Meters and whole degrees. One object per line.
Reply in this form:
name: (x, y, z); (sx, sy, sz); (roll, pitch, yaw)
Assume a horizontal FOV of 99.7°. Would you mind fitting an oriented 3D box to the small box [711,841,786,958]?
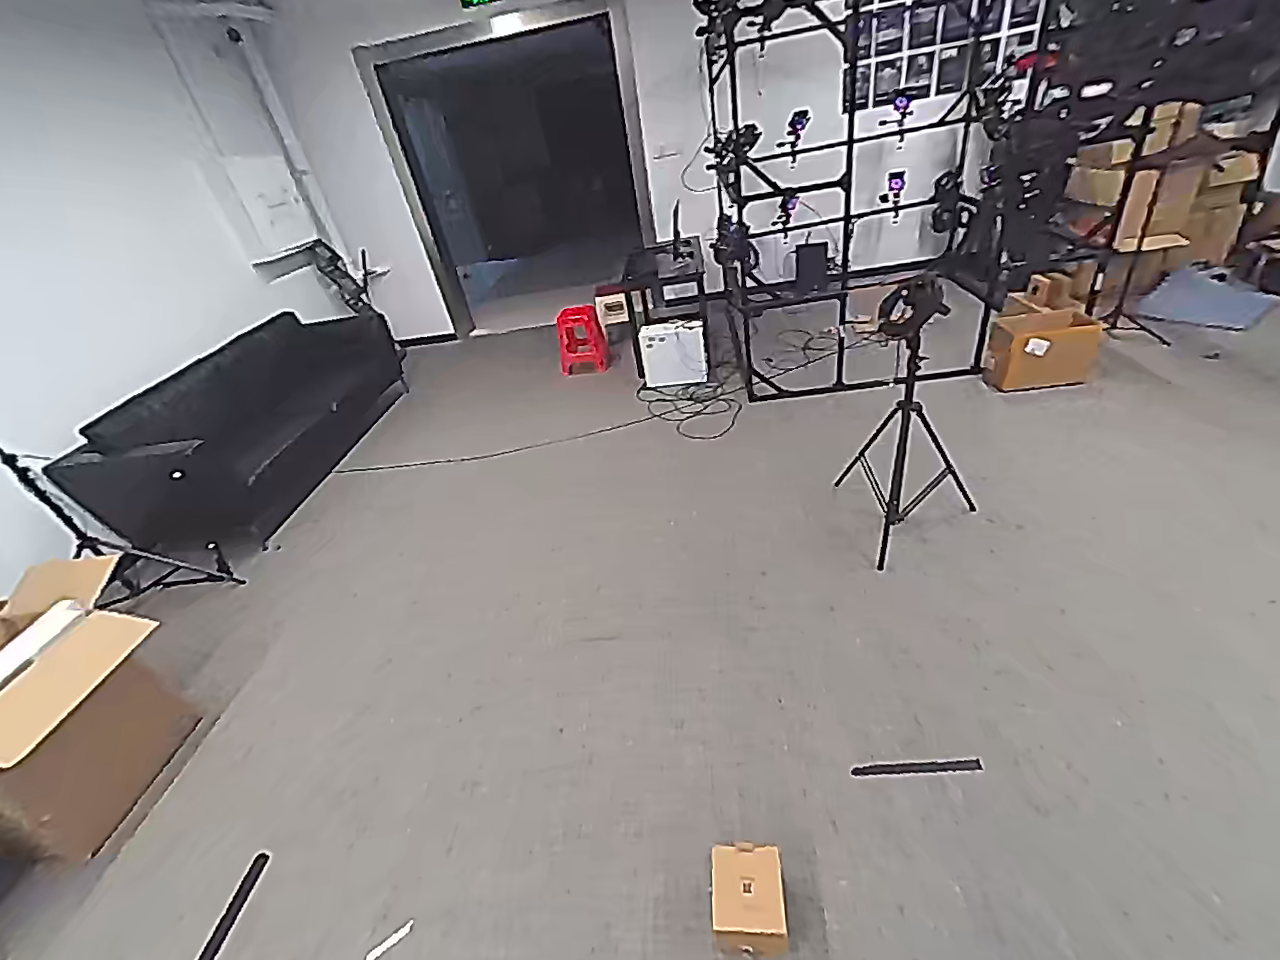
small box: (0.262, 1.016, 1.314); (0.168, 0.176, 0.179); (-6, 33, 11)
